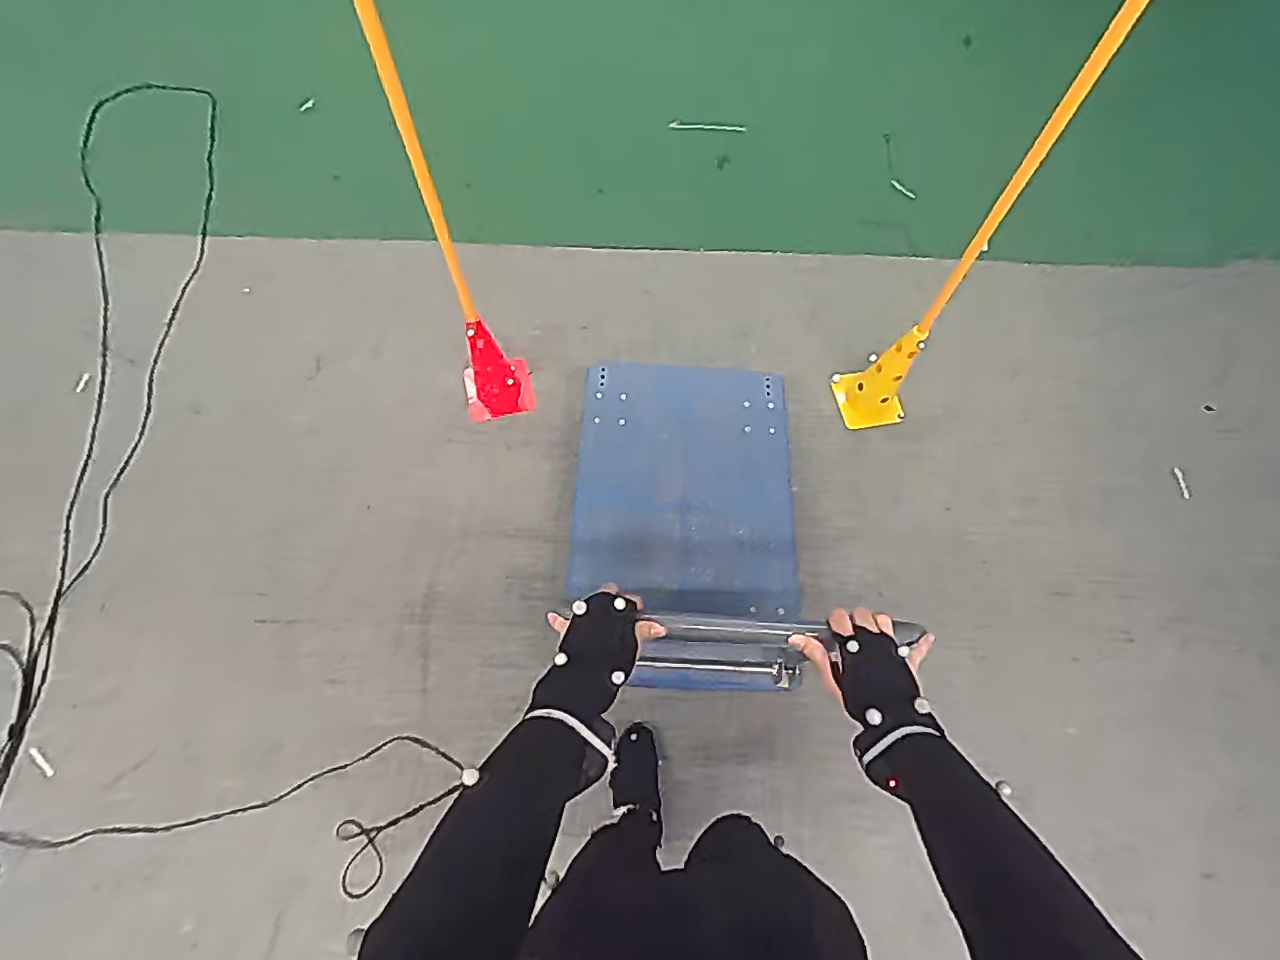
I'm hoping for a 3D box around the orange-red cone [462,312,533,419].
[{"bbox_3d":[-0.447,-0.353,1.559,0.199,0.360,0.198,-13,69,-5],"label":"orange-red cone"}]
